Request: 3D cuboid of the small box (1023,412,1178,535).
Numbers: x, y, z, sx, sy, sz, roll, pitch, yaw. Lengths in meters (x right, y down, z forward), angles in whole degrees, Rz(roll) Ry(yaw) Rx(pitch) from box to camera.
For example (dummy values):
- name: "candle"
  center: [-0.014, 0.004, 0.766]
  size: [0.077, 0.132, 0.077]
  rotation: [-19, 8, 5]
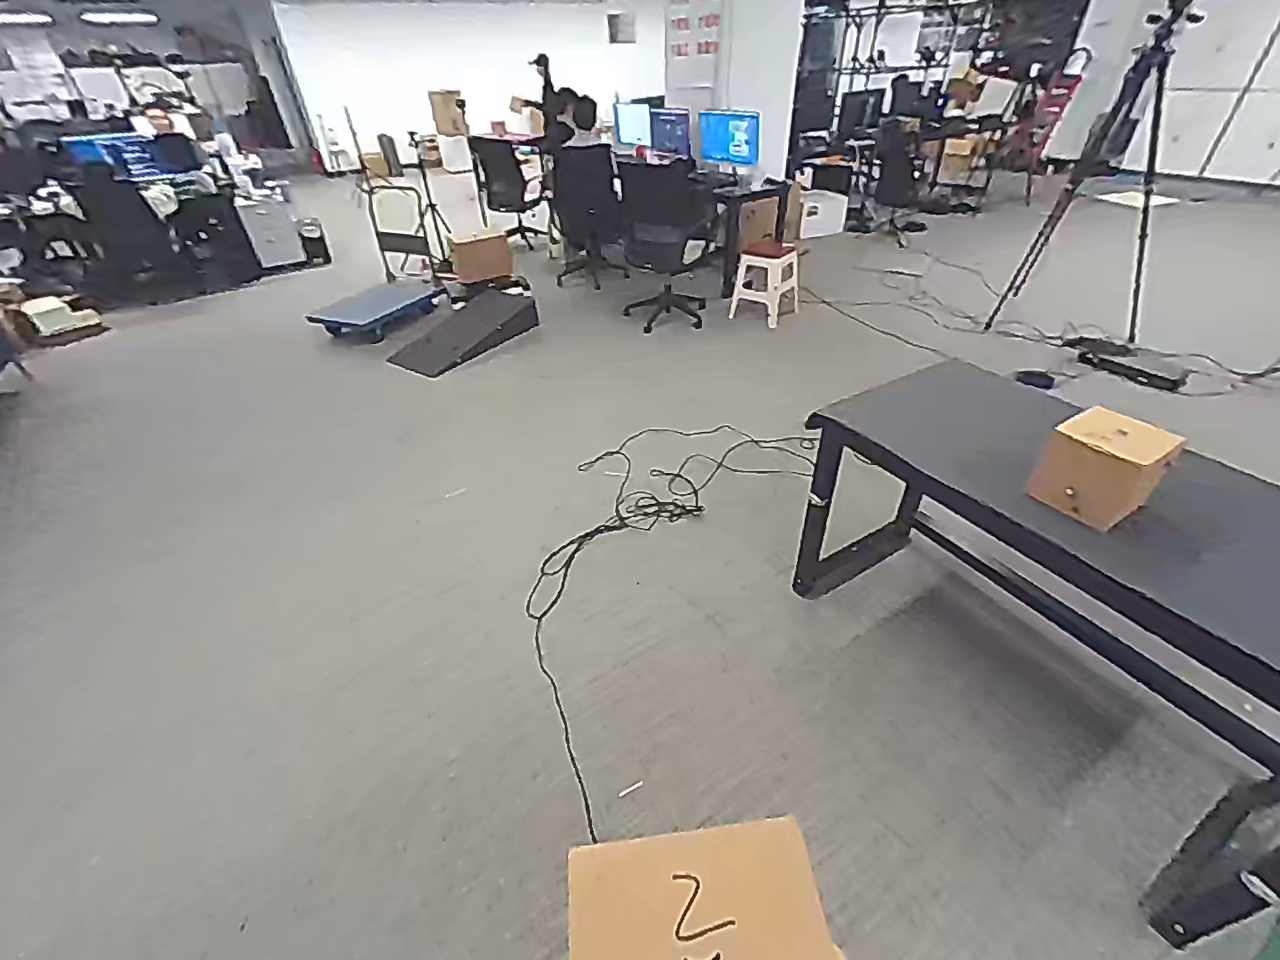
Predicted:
- name: "small box"
  center: [0.960, -0.015, 1.144]
  size: [0.179, 0.176, 0.168]
  rotation: [-22, 41, -24]
